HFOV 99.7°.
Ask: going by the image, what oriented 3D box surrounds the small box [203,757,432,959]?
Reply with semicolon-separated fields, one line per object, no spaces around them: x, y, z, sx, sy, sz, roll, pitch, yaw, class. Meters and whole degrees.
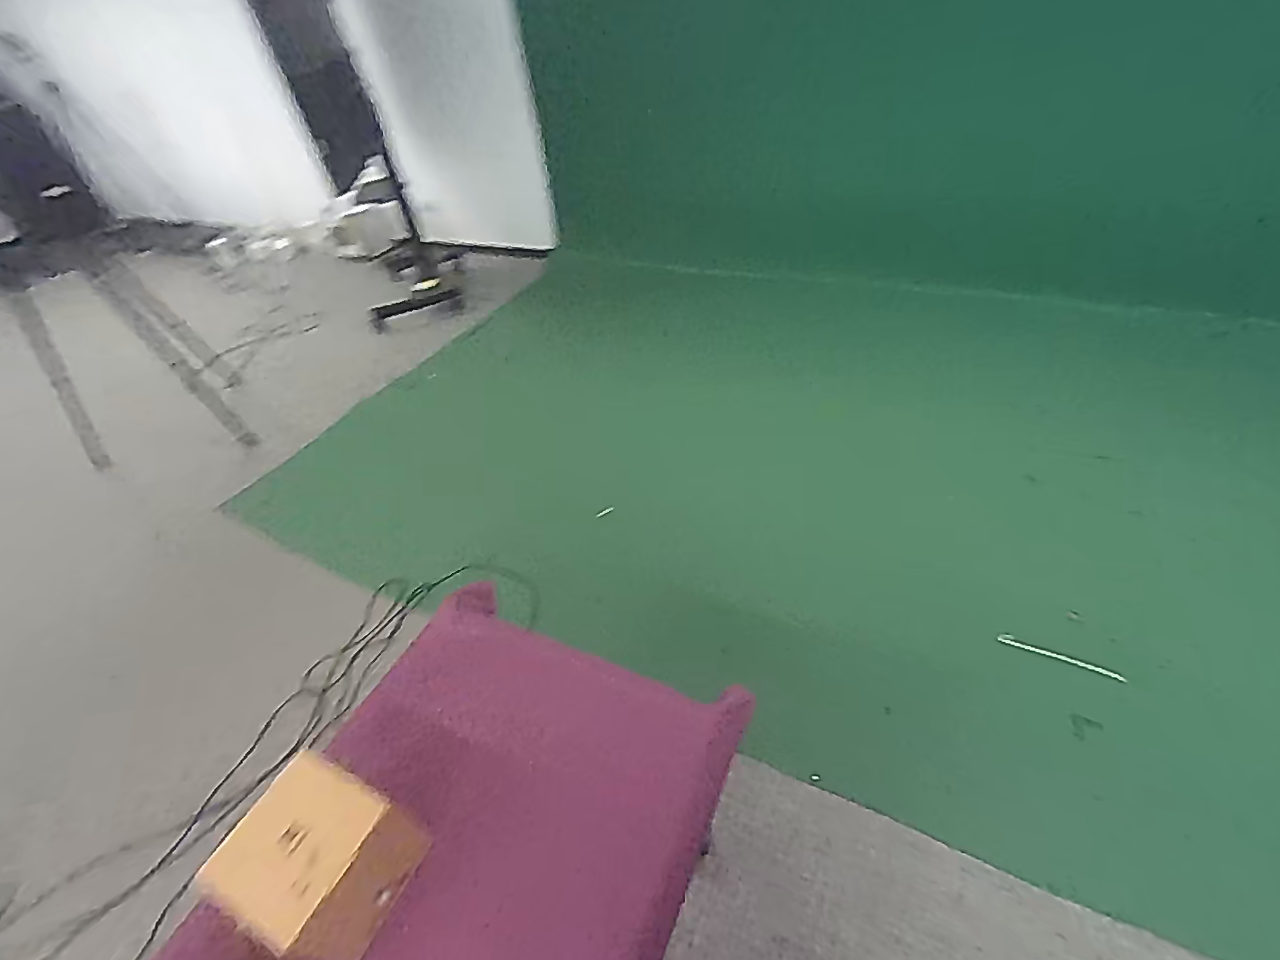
-0.429;0.526;0.747;0.179;0.176;0.168;14;48;23;small box
